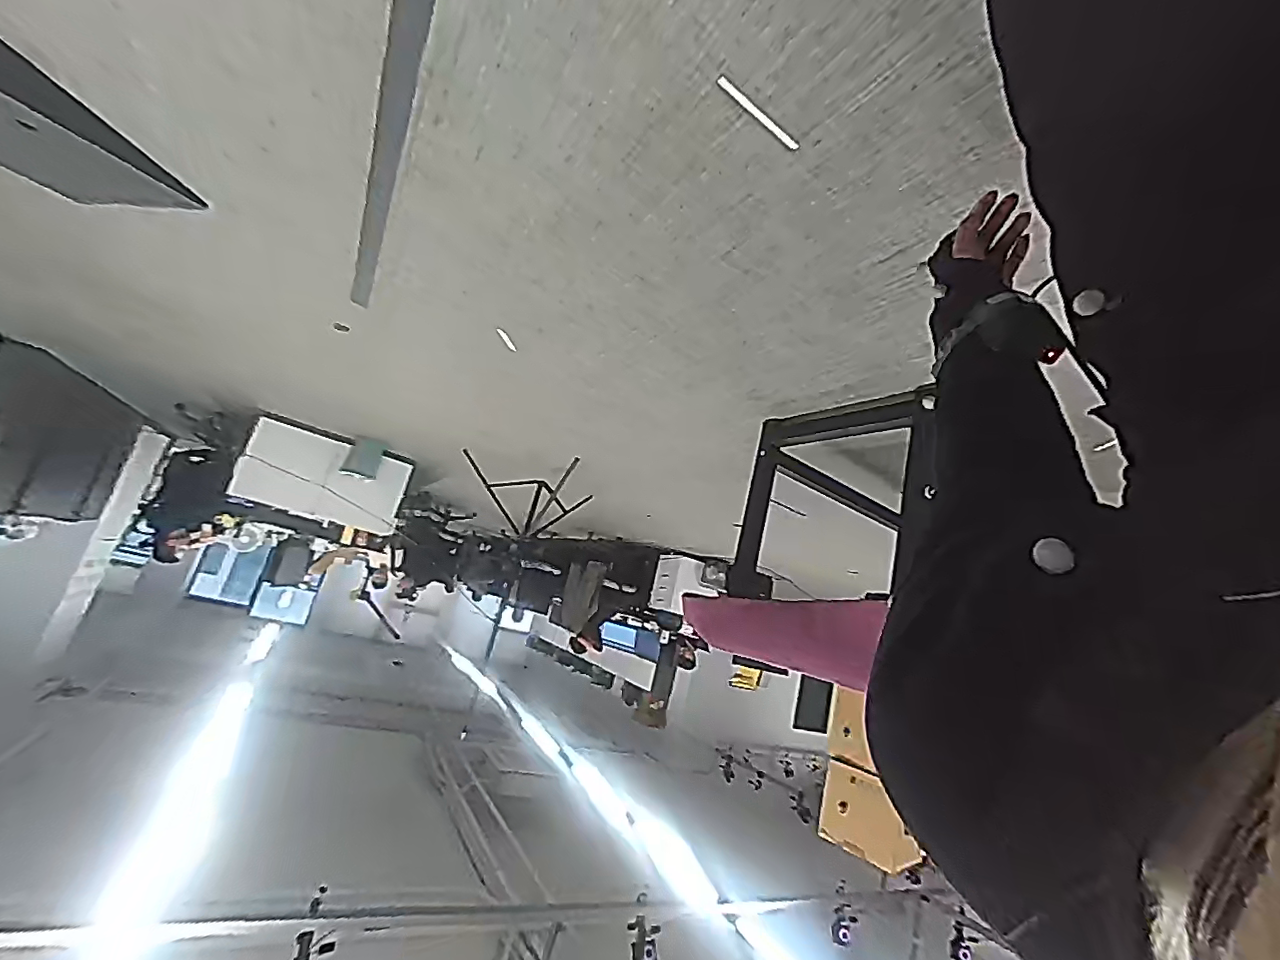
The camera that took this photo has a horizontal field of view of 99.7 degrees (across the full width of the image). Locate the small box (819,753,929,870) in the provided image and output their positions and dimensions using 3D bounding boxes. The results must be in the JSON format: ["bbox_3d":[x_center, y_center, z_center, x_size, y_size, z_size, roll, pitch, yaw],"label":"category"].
[{"bbox_3d":[0.528,0.729,1.213,0.179,0.176,0.168,23,166,-41],"label":"small box"}]
